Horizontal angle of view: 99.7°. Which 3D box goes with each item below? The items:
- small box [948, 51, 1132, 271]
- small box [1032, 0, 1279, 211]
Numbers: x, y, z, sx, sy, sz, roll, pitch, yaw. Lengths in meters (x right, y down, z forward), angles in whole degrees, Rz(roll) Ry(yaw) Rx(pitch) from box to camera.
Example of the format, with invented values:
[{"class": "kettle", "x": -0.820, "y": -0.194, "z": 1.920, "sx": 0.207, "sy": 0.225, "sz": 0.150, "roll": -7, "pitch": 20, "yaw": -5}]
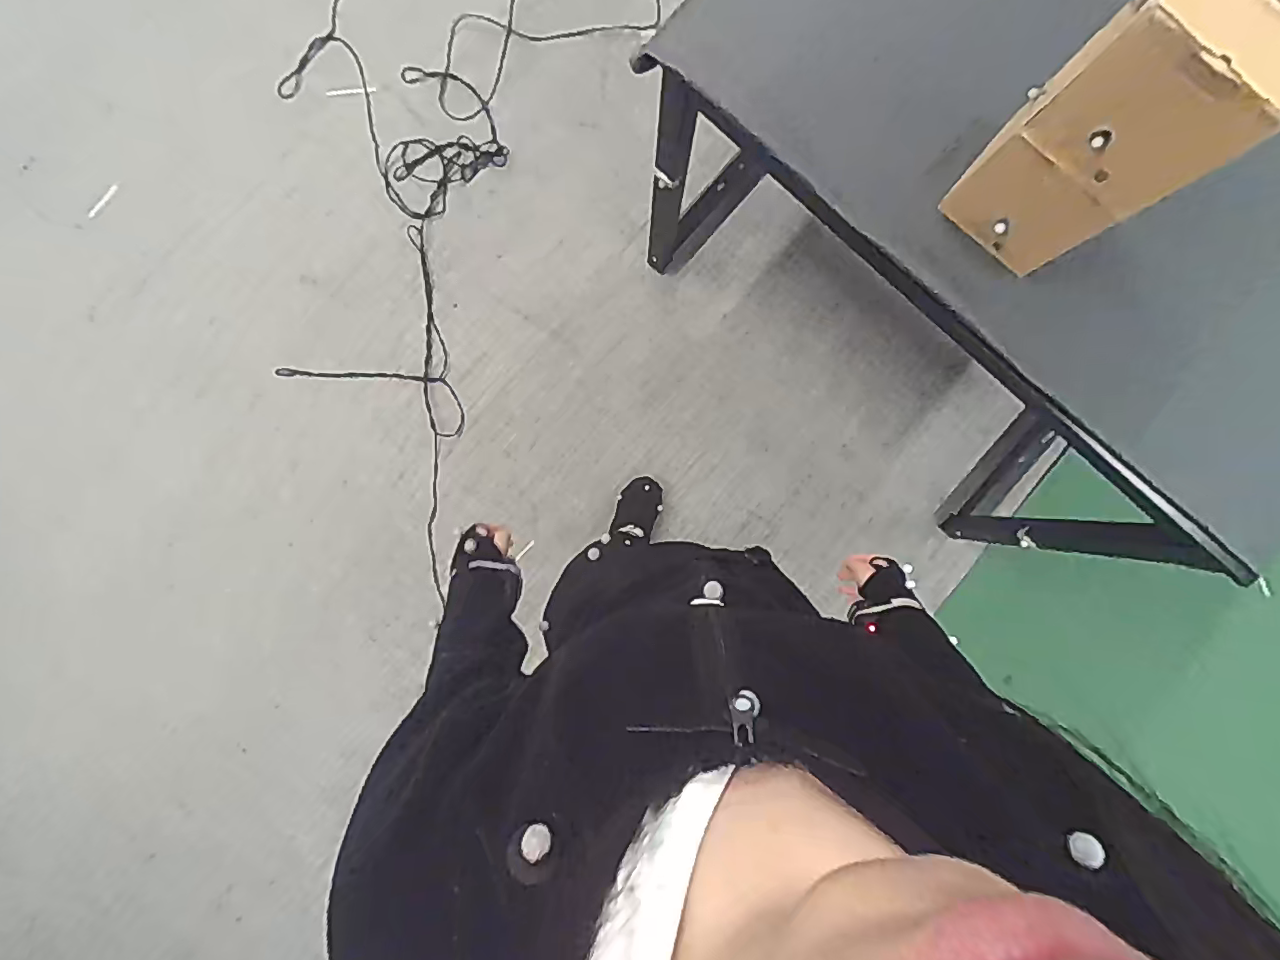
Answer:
[{"class": "small box", "x": 0.562, "y": -0.422, "z": 0.722, "sx": 0.168, "sy": 0.176, "sz": 0.179, "roll": 40, "pitch": 87, "yaw": 1}, {"class": "small box", "x": 0.567, "y": -0.430, "z": 0.560, "sx": 0.168, "sy": 0.176, "sz": 0.179, "roll": 40, "pitch": 87, "yaw": 0}]
